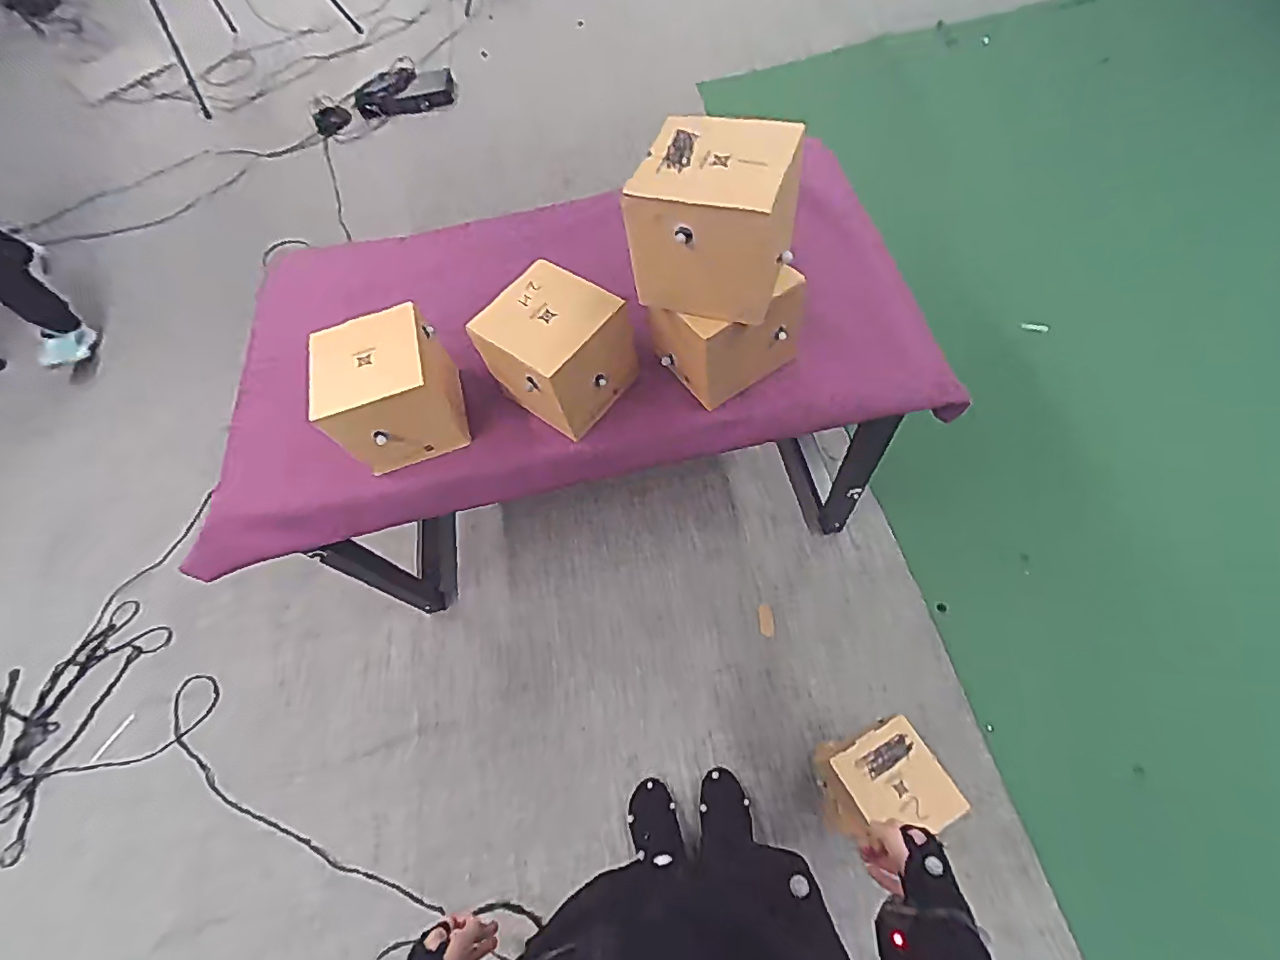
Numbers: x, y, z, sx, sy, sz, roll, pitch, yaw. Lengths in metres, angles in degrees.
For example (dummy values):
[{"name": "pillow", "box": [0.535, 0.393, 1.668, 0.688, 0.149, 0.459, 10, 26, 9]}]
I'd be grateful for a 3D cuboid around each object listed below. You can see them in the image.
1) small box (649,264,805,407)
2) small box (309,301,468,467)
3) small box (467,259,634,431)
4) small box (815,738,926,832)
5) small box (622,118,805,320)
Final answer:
[{"name": "small box", "box": [0.124, -0.250, 0.837, 0.179, 0.176, 0.168, -33, 62, -8]}, {"name": "small box", "box": [-0.388, -0.140, 0.853, 0.168, 0.176, 0.179, -19, 61, -2]}, {"name": "small box", "box": [-0.127, -0.201, 0.845, 0.179, 0.176, 0.168, 34, 71, 22]}, {"name": "small box", "box": [0.480, 0.647, 1.159, 0.179, 0.176, 0.168, -3, 63, 6]}, {"name": "small box", "box": [0.097, -0.332, 0.699, 0.179, 0.176, 0.168, 16, 65, 16]}]
